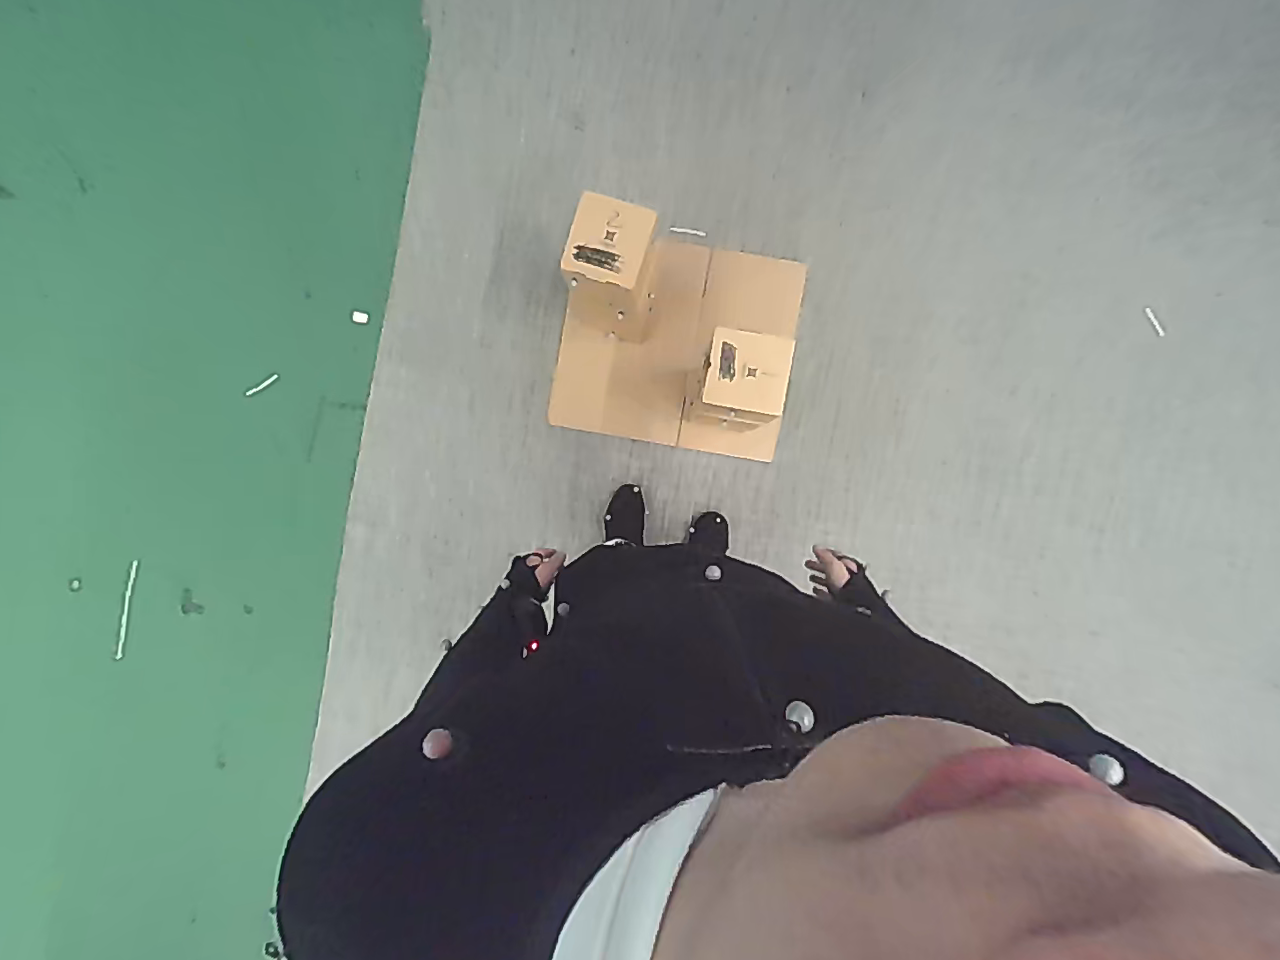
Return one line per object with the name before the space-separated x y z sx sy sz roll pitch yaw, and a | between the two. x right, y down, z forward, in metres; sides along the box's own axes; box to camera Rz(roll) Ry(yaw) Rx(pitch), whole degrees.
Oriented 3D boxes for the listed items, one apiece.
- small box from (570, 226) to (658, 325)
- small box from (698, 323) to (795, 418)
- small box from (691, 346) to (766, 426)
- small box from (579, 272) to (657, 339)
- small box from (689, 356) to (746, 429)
small box | -0.061 -0.510 1.378 0.179 0.176 0.168 18 90 1
small box | 0.230 -0.237 1.214 0.179 0.176 0.168 10 92 2
small box | 0.233 -0.234 1.379 0.179 0.176 0.168 10 91 3
small box | -0.059 -0.518 1.544 0.179 0.176 0.168 18 90 1
small box | 0.239 -0.242 1.540 0.179 0.176 0.168 11 91 2
